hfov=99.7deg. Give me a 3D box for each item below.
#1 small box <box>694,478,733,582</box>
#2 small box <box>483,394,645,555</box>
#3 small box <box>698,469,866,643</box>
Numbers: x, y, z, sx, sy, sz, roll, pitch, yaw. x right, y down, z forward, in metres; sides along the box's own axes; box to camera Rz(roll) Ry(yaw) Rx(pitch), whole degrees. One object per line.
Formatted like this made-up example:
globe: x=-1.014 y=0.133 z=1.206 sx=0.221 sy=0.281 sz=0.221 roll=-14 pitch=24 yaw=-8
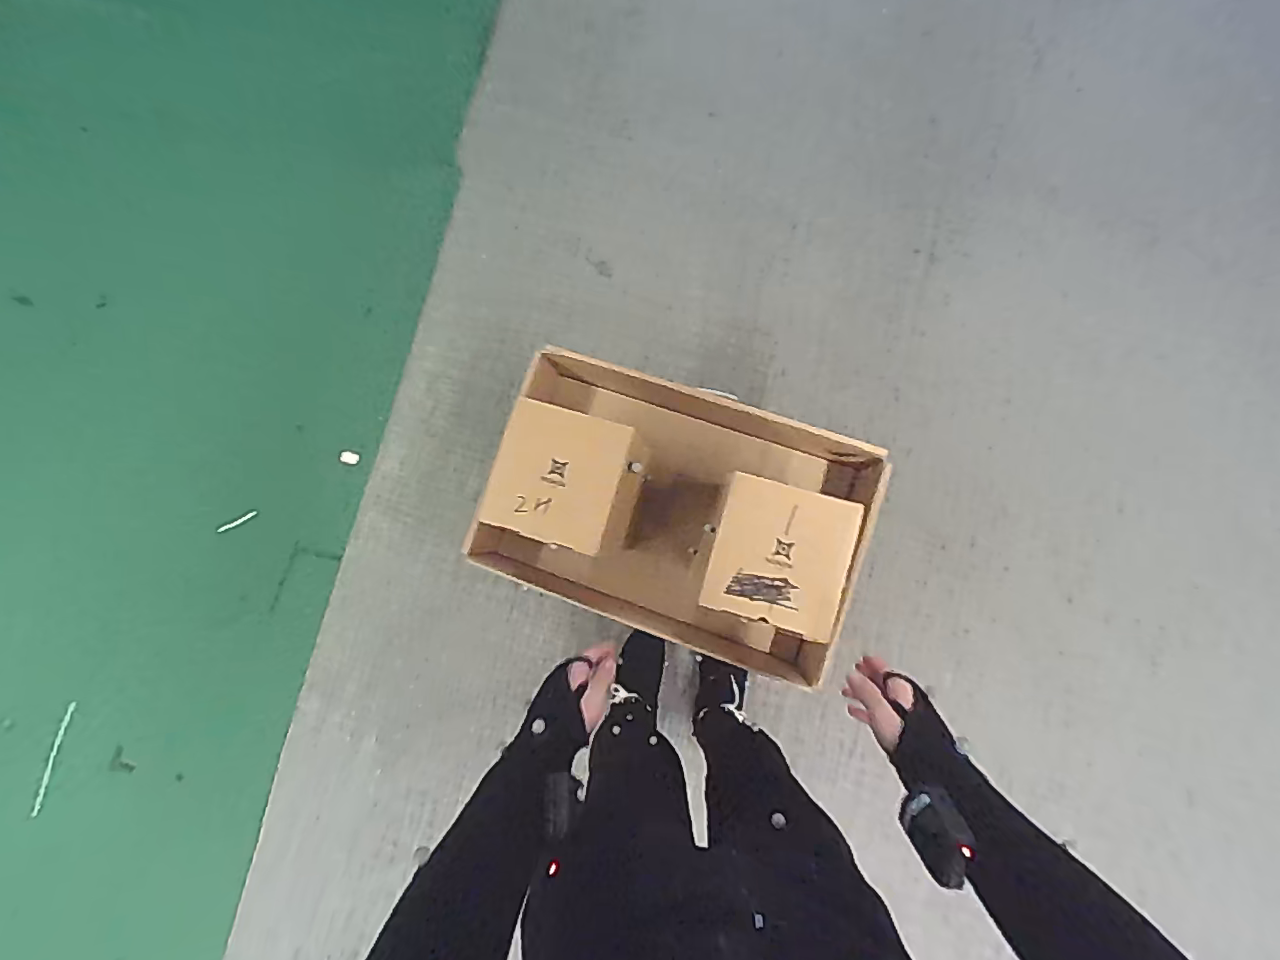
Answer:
small box: x=0.192 y=0.109 z=0.905 sx=0.168 sy=0.176 sz=0.179 roll=21 pitch=87 yaw=7
small box: x=-0.096 y=0.000 z=0.778 sx=0.168 sy=0.176 sz=0.179 roll=17 pitch=85 yaw=8
small box: x=0.182 y=0.100 z=0.740 sx=0.168 sy=0.176 sz=0.179 roll=16 pitch=85 yaw=7
